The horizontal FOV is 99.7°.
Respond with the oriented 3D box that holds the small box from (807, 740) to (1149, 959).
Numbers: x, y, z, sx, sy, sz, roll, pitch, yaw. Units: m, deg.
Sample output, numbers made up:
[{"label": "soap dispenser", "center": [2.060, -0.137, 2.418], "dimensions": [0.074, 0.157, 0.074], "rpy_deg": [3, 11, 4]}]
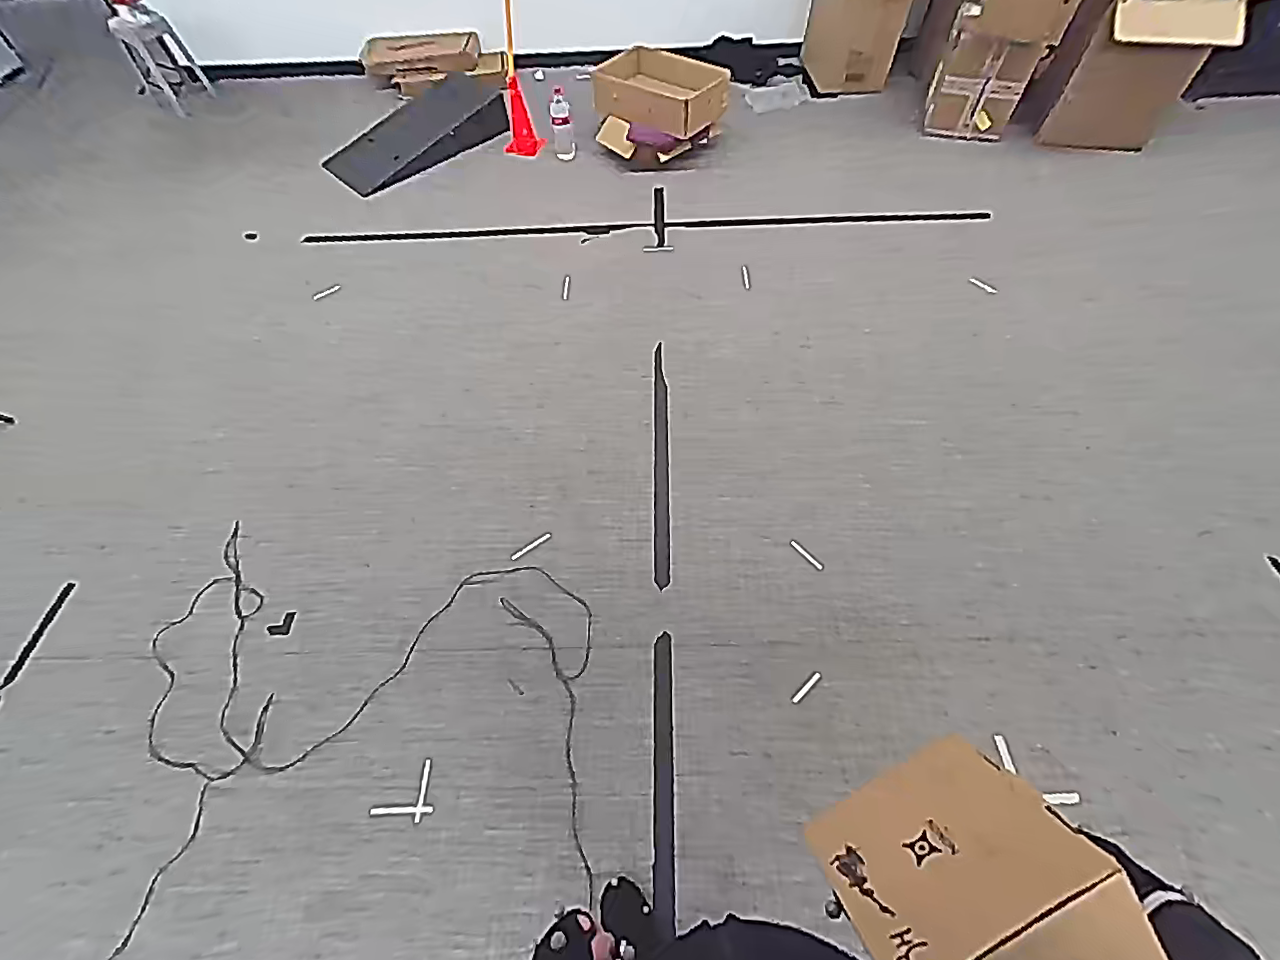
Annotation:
[{"label": "small box", "center": [0.281, 0.371, 0.455], "dimensions": [0.179, 0.168, 0.176], "rpy_deg": [-30, 96, -3]}]
